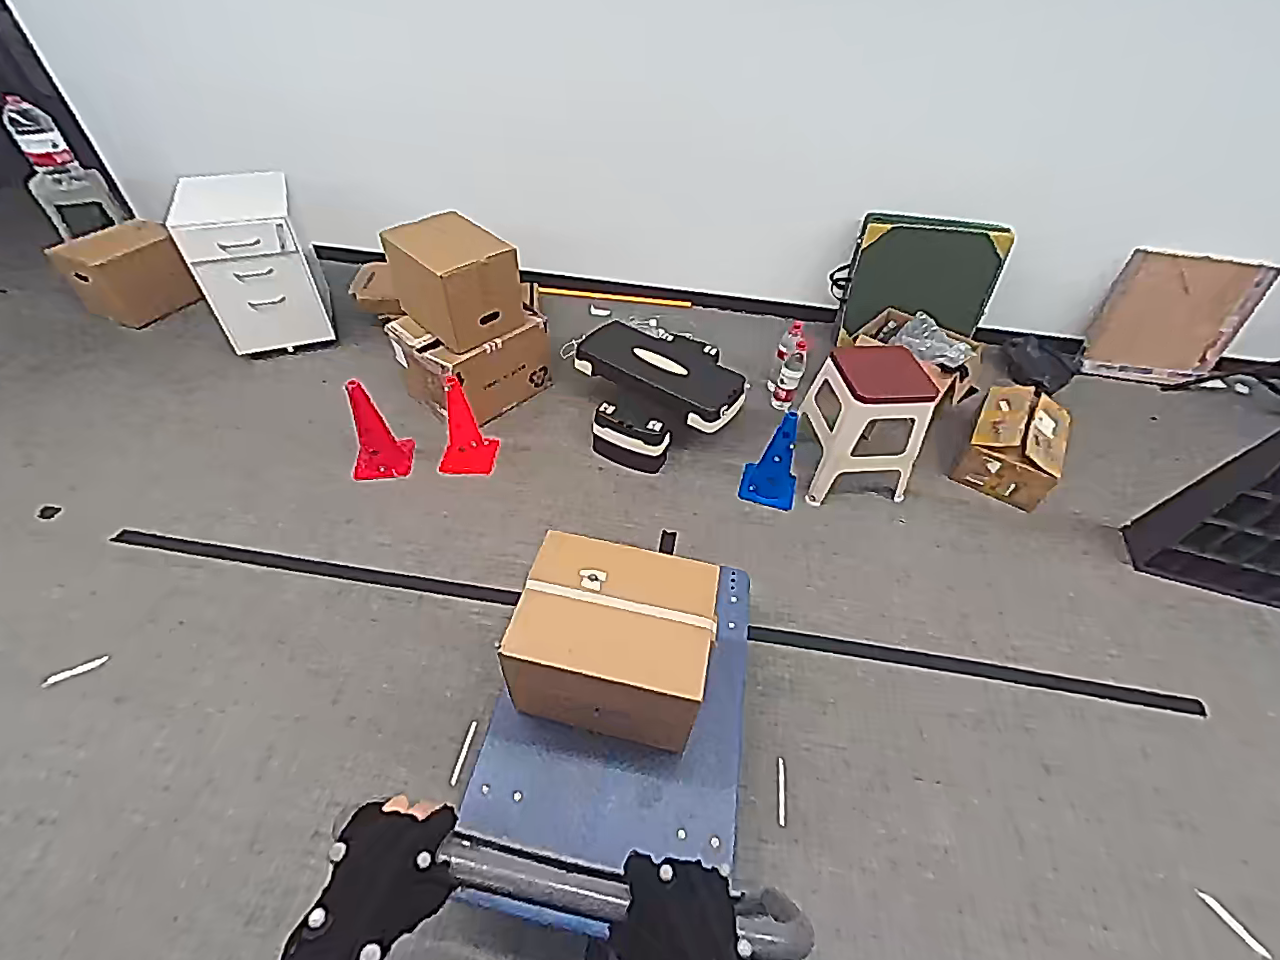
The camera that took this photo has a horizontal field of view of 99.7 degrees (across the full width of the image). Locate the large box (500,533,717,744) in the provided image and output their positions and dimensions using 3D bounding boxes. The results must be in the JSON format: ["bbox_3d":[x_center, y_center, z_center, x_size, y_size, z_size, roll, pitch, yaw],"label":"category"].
[{"bbox_3d":[-0.054,0.365,1.241,0.408,0.320,0.320,11,47,7],"label":"large box"}]
